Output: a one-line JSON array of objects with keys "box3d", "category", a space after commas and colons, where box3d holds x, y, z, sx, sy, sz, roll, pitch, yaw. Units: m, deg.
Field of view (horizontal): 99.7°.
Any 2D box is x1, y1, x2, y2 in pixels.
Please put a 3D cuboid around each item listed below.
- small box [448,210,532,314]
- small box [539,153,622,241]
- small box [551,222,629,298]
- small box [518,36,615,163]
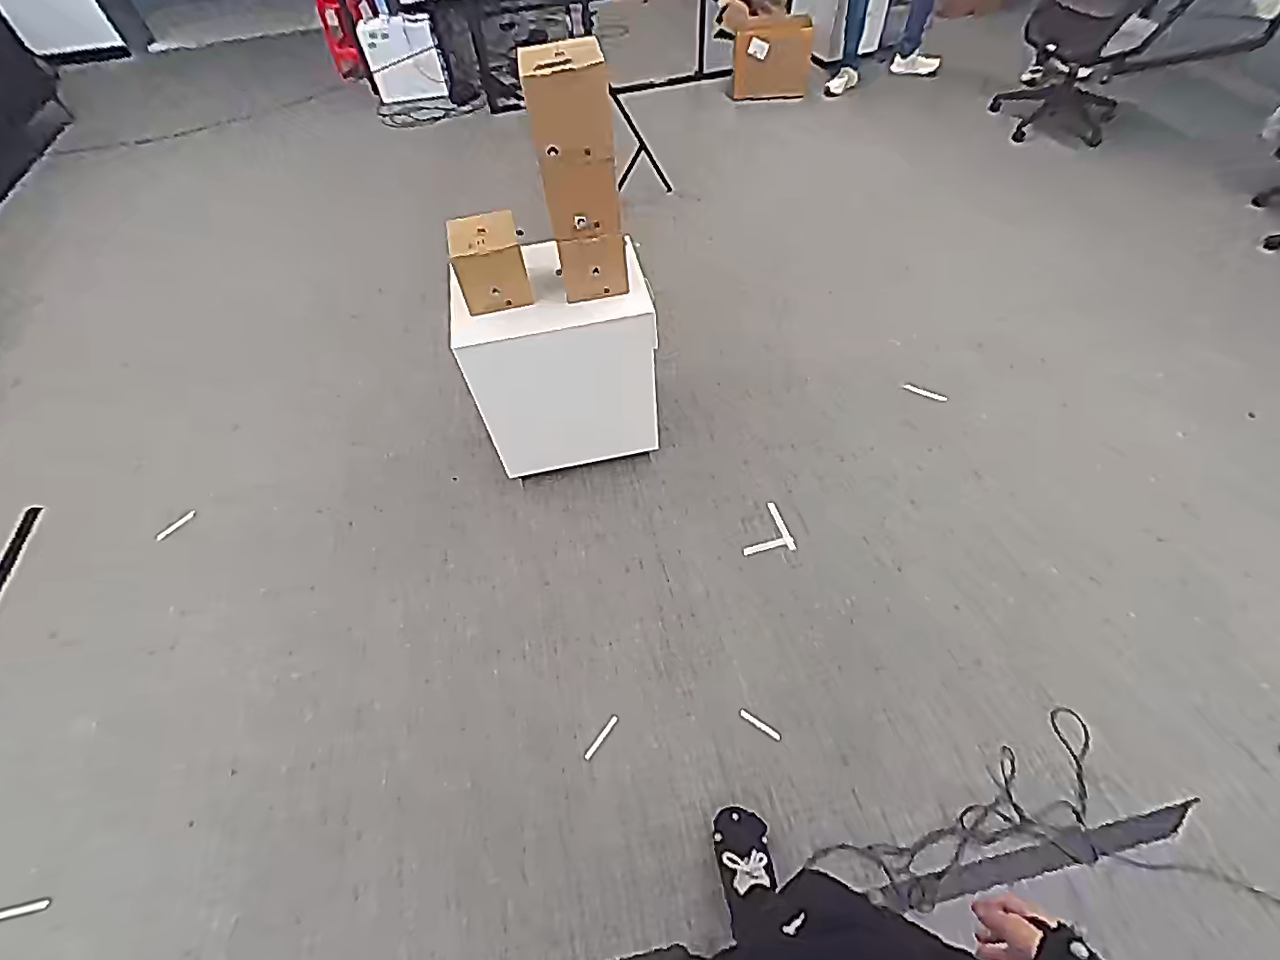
[{"box3d": [-0.380, -0.554, 1.381, 0.168, 0.176, 0.179, -14, 55, -5], "category": "small box"}, {"box3d": [-0.140, -0.688, 1.260, 0.168, 0.176, 0.179, -12, 55, -2], "category": "small box"}, {"box3d": [-0.127, -0.587, 1.387, 0.168, 0.176, 0.179, -12, 56, -2], "category": "small box"}, {"box3d": [-0.150, -0.781, 1.124, 0.168, 0.176, 0.179, -10, 53, -1], "category": "small box"}]
